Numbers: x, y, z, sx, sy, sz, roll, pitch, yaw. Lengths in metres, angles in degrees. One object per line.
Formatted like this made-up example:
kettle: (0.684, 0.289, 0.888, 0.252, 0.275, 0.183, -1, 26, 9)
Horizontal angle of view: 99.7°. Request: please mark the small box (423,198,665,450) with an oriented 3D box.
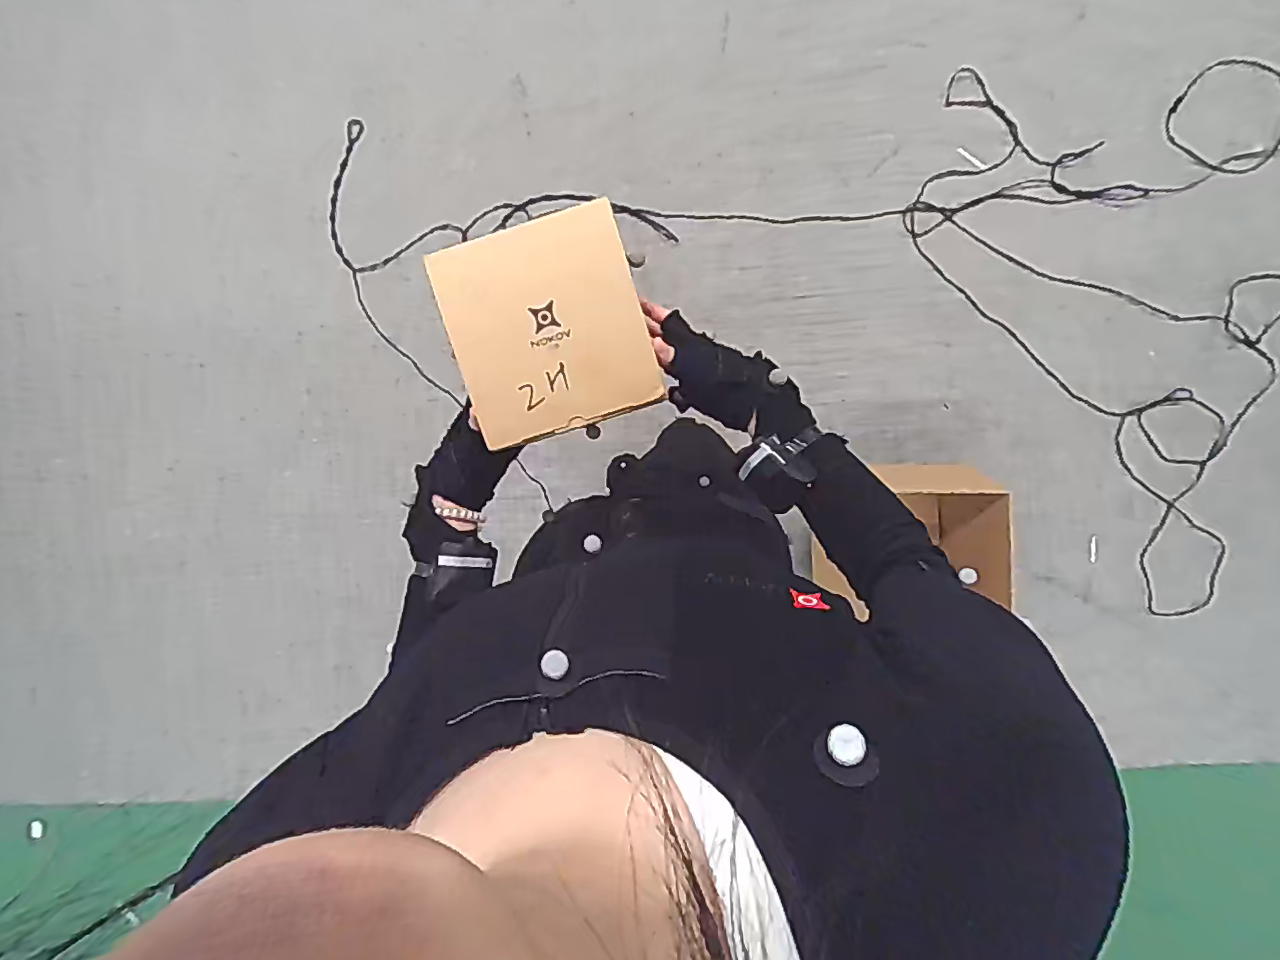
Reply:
small box: (-0.080, -0.137, 0.533, 0.168, 0.176, 0.179, -17, 96, 3)
